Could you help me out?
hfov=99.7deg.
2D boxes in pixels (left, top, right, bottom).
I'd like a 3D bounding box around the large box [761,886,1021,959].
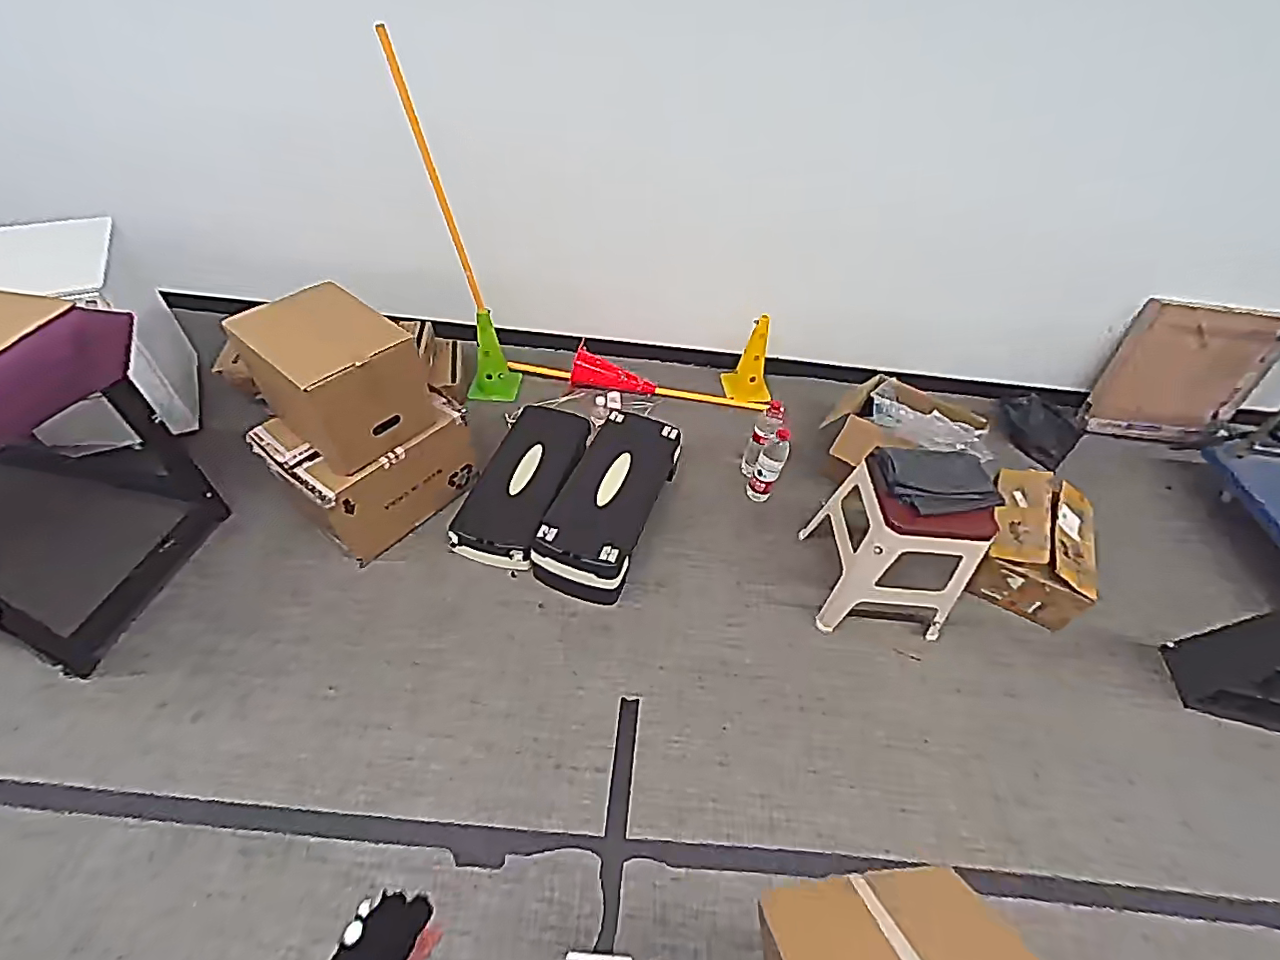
[{"bbox_3d":[0.357,0.777,0.629,0.320,0.408,0.320,-4,87,-4],"label":"large box"}]
